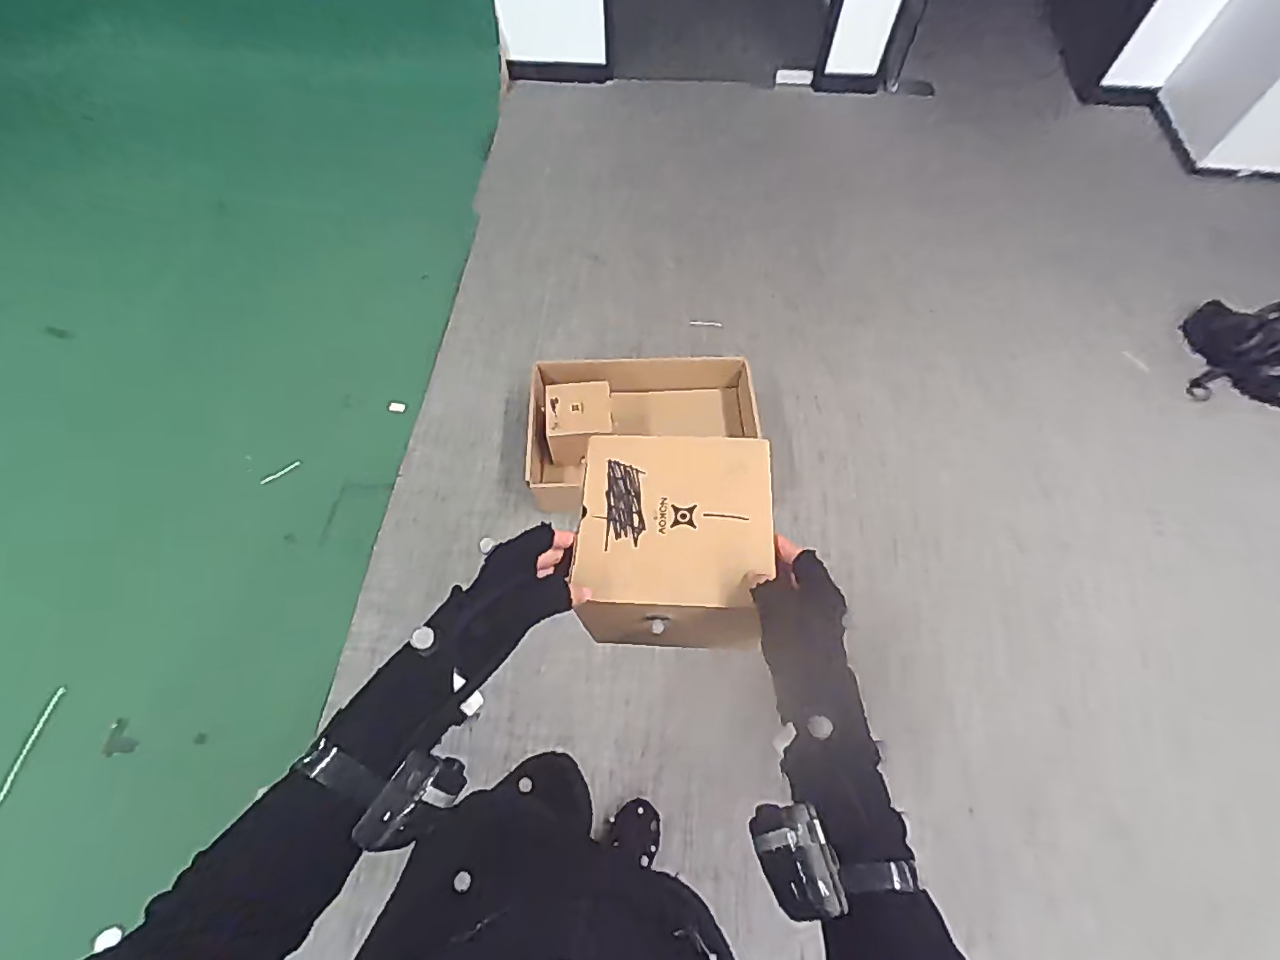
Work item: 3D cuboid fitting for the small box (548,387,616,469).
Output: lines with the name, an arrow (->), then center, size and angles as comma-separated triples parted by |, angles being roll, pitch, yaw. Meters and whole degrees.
small box -> -0.160, -0.141, 1.506 | 0.179, 0.176, 0.168 | -4, 62, -4

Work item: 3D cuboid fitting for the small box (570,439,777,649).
small box -> 0.037, 0.072, 0.555 | 0.179, 0.176, 0.168 | 2, 62, 5
